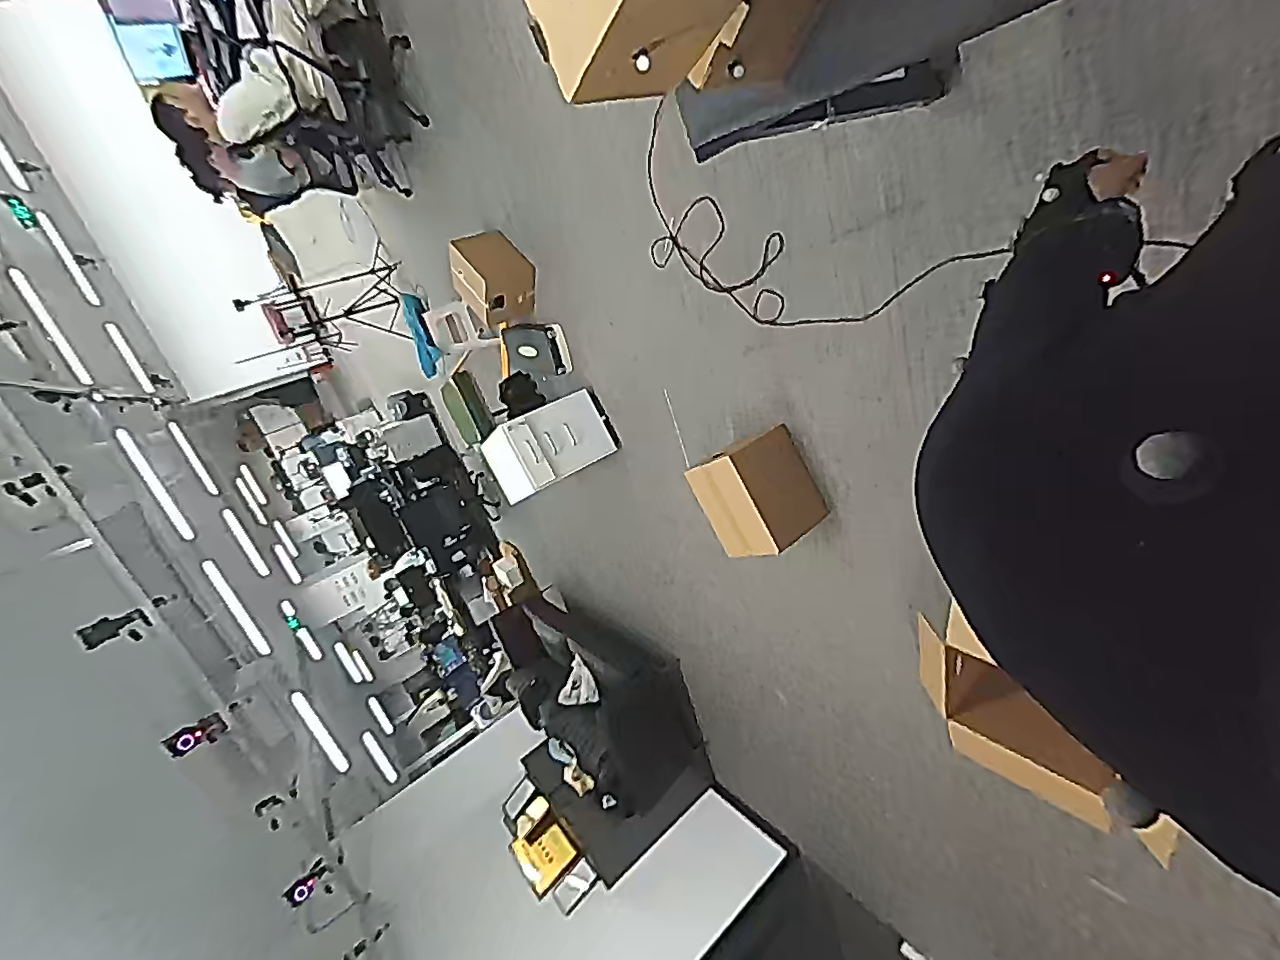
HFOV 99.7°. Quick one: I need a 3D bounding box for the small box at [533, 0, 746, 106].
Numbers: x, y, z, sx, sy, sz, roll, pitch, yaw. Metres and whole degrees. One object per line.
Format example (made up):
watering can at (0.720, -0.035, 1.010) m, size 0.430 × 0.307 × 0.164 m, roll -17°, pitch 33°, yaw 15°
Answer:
small box at (-0.005, -0.566, 0.611) m, size 0.179 × 0.176 × 0.168 m, roll -12°, pitch 104°, yaw 62°
